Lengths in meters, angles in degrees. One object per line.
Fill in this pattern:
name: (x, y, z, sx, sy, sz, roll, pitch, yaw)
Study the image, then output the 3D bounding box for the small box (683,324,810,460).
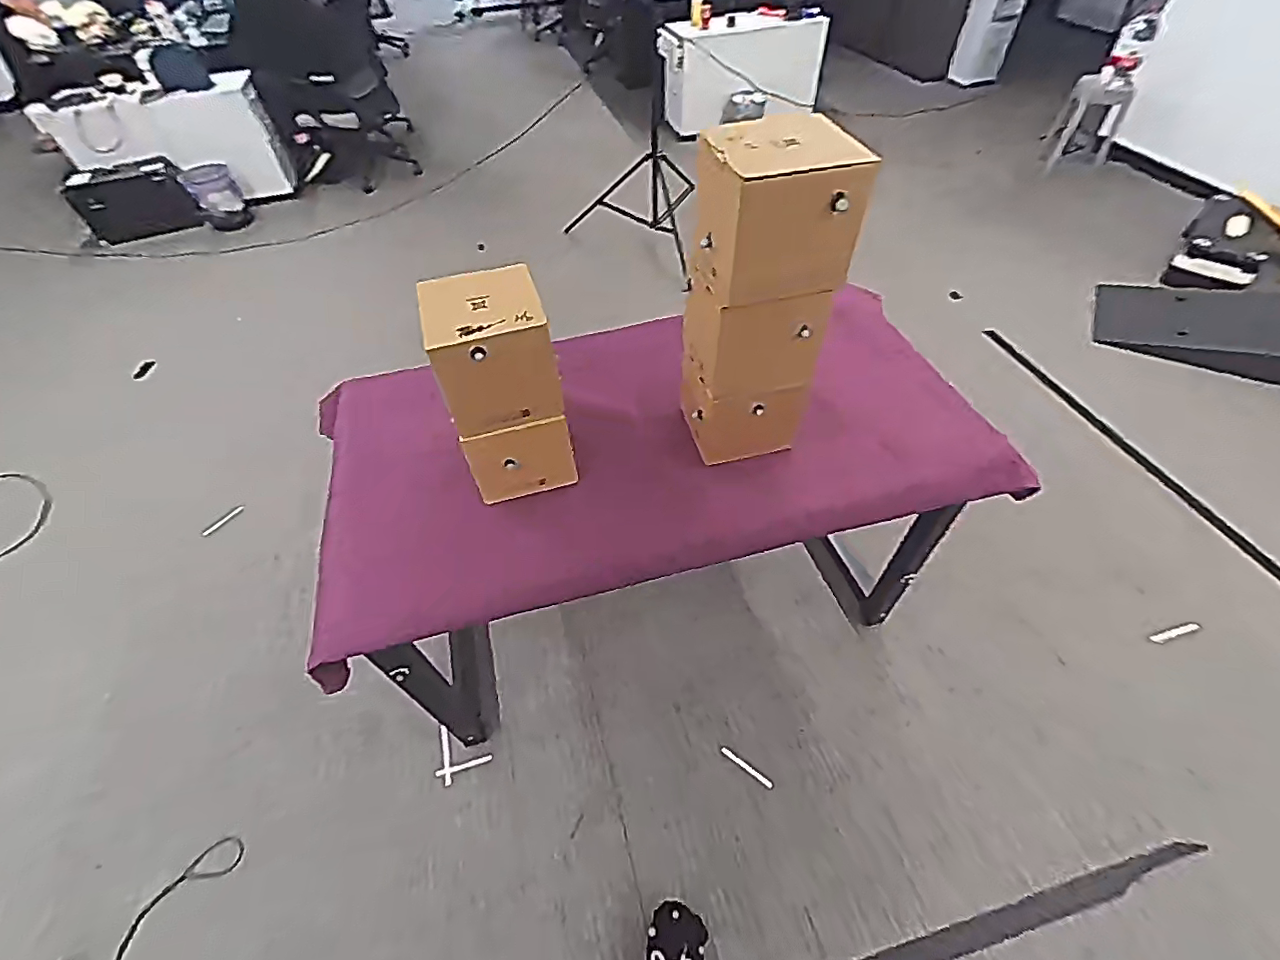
small box: (0.182, -0.155, 0.985, 0.179, 0.176, 0.168, -12, 52, -8)

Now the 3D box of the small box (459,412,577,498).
small box: (-0.214, -0.087, 0.950, 0.168, 0.176, 0.179, -15, 51, -9)

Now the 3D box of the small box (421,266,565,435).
small box: (-0.222, -0.197, 0.828, 0.168, 0.176, 0.179, -16, 50, -9)

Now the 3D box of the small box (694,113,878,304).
small box: (0.180, -0.364, 0.729, 0.179, 0.176, 0.168, -13, 51, -7)
